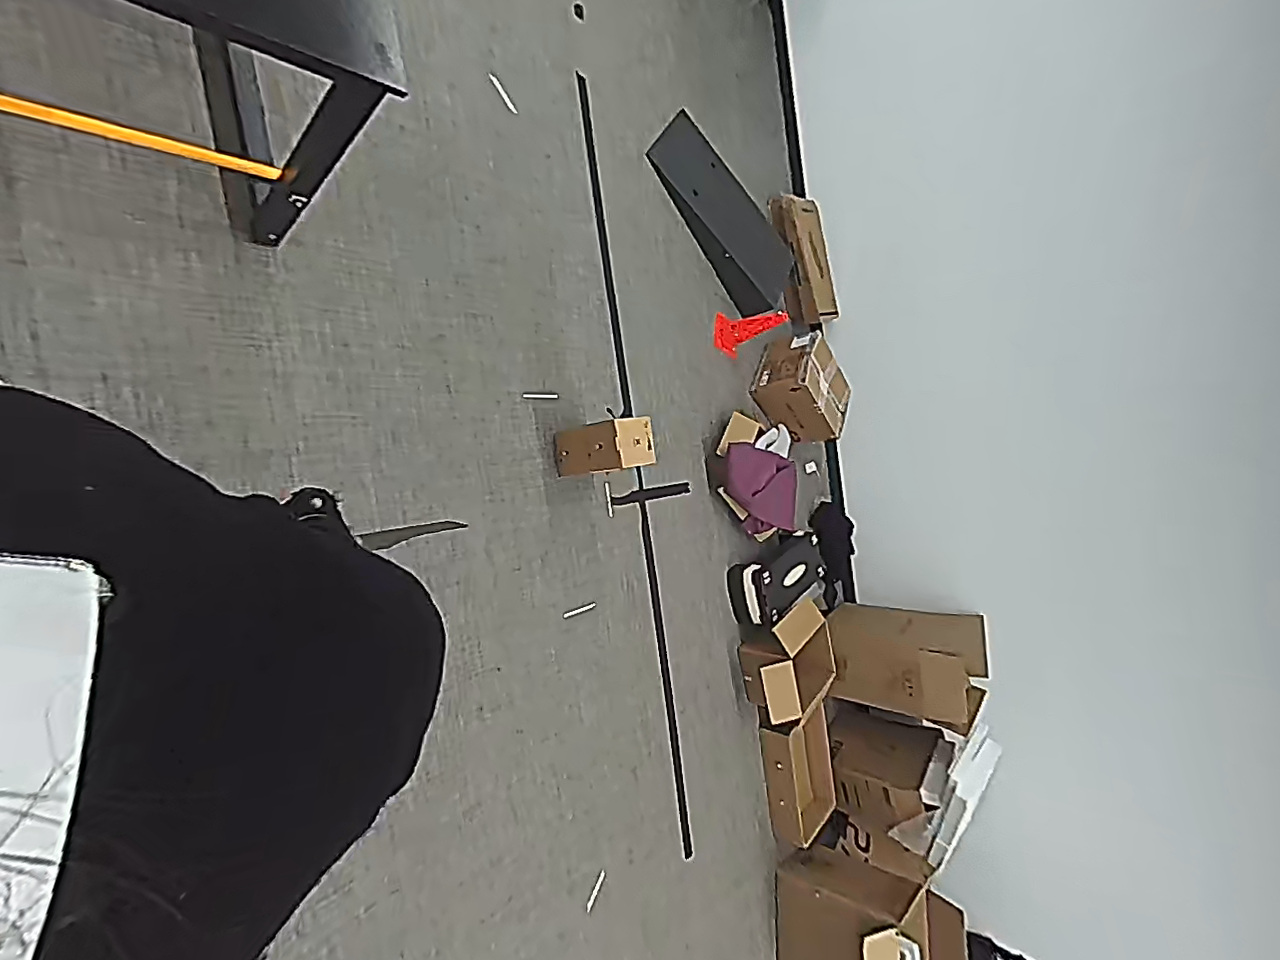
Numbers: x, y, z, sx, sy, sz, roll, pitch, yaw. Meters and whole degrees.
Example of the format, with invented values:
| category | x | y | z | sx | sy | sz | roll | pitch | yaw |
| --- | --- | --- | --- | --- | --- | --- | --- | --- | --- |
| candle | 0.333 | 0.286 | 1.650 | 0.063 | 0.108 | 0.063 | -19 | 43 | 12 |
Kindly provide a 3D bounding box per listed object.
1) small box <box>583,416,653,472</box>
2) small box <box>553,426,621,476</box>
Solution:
| category | x | y | z | sx | sy | sz | roll | pitch | yaw |
| --- | --- | --- | --- | --- | --- | --- | --- | --- | --- |
| small box | -0.082 | -0.124 | 1.864 | 0.179 | 0.176 | 0.168 | -10 | 93 | -47 |
| small box | -0.193 | -0.106 | 1.983 | 0.179 | 0.176 | 0.168 | -8 | 91 | -47 |
